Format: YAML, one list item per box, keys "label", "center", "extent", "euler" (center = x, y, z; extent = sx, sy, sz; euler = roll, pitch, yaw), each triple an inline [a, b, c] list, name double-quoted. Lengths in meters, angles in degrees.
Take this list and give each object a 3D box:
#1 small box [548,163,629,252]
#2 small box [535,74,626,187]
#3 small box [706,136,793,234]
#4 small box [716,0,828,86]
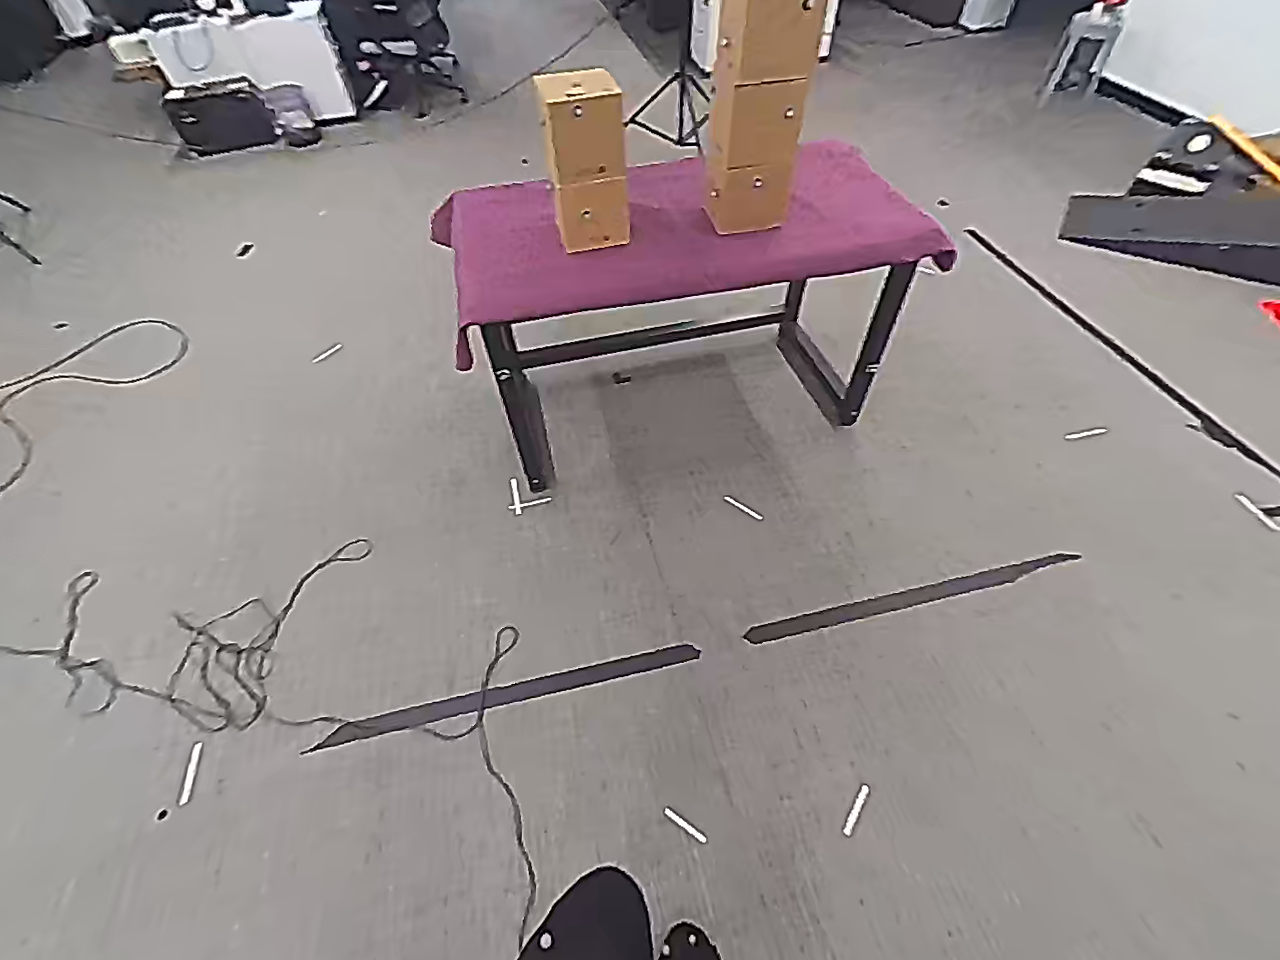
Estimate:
- label: "small box"
  center: [-0.127, -0.696, 1.368]
  extent: [0.168, 0.176, 0.179]
  euler: [-13, 52, -7]
- label: "small box"
  center: [-0.135, -0.802, 1.242]
  extent: [0.168, 0.176, 0.179]
  euler: [-15, 52, -8]
- label: "small box"
  center: [0.271, -0.755, 1.393]
  extent: [0.179, 0.176, 0.168]
  euler: [-10, 53, -6]
- label: "small box"
  center: [0.269, -0.954, 1.131]
  extent: [0.179, 0.176, 0.168]
  euler: [-11, 53, -5]
